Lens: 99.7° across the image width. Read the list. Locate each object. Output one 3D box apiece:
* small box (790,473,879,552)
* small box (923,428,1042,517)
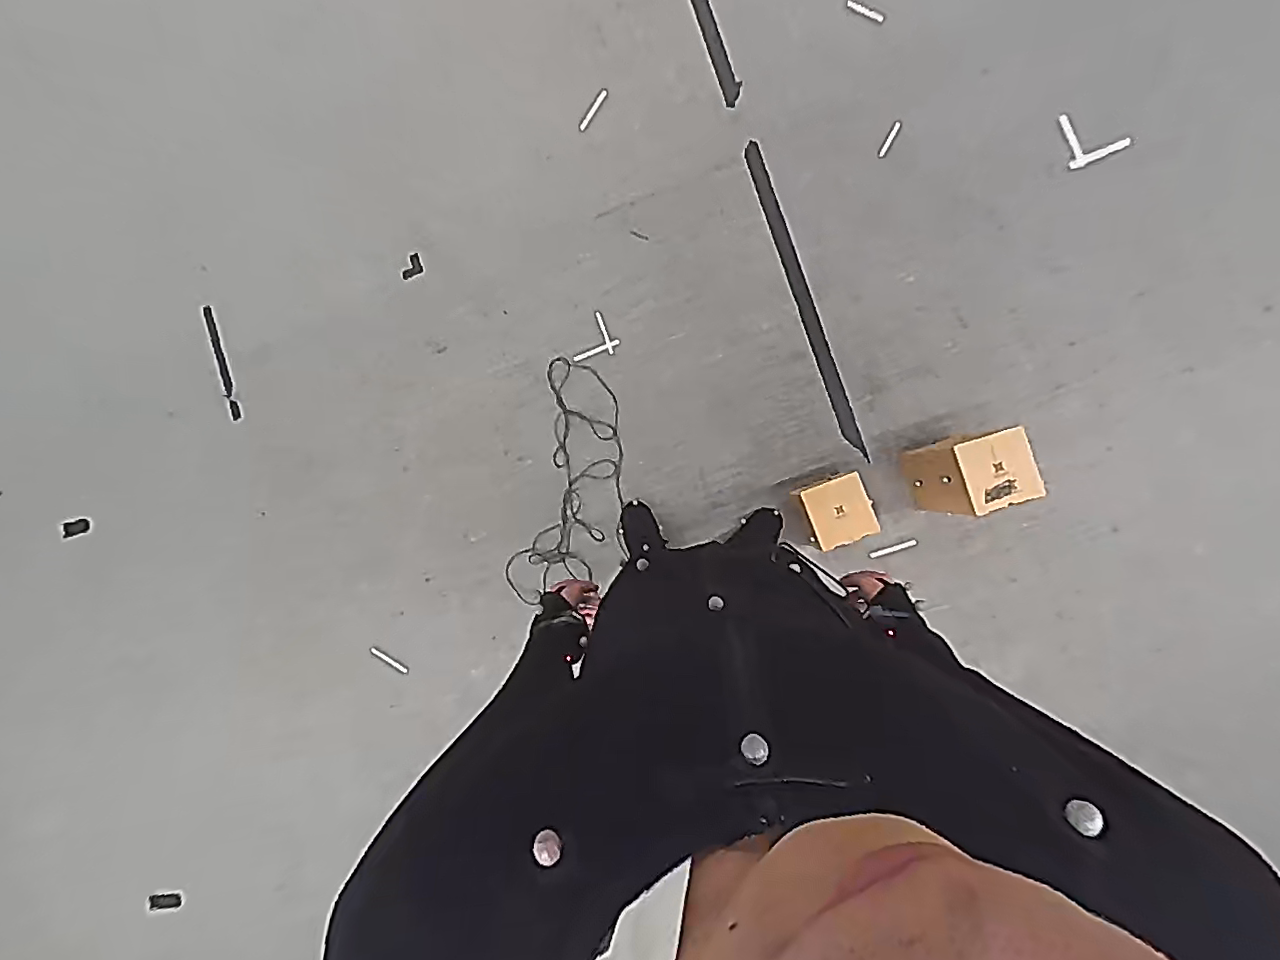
[{"bbox_3d":[0.543,0.090,1.536,0.168,0.176,0.179,-22,88,5],"label":"small box"},{"bbox_3d":[0.840,-0.017,1.343,0.168,0.176,0.179,-18,87,4],"label":"small box"}]
